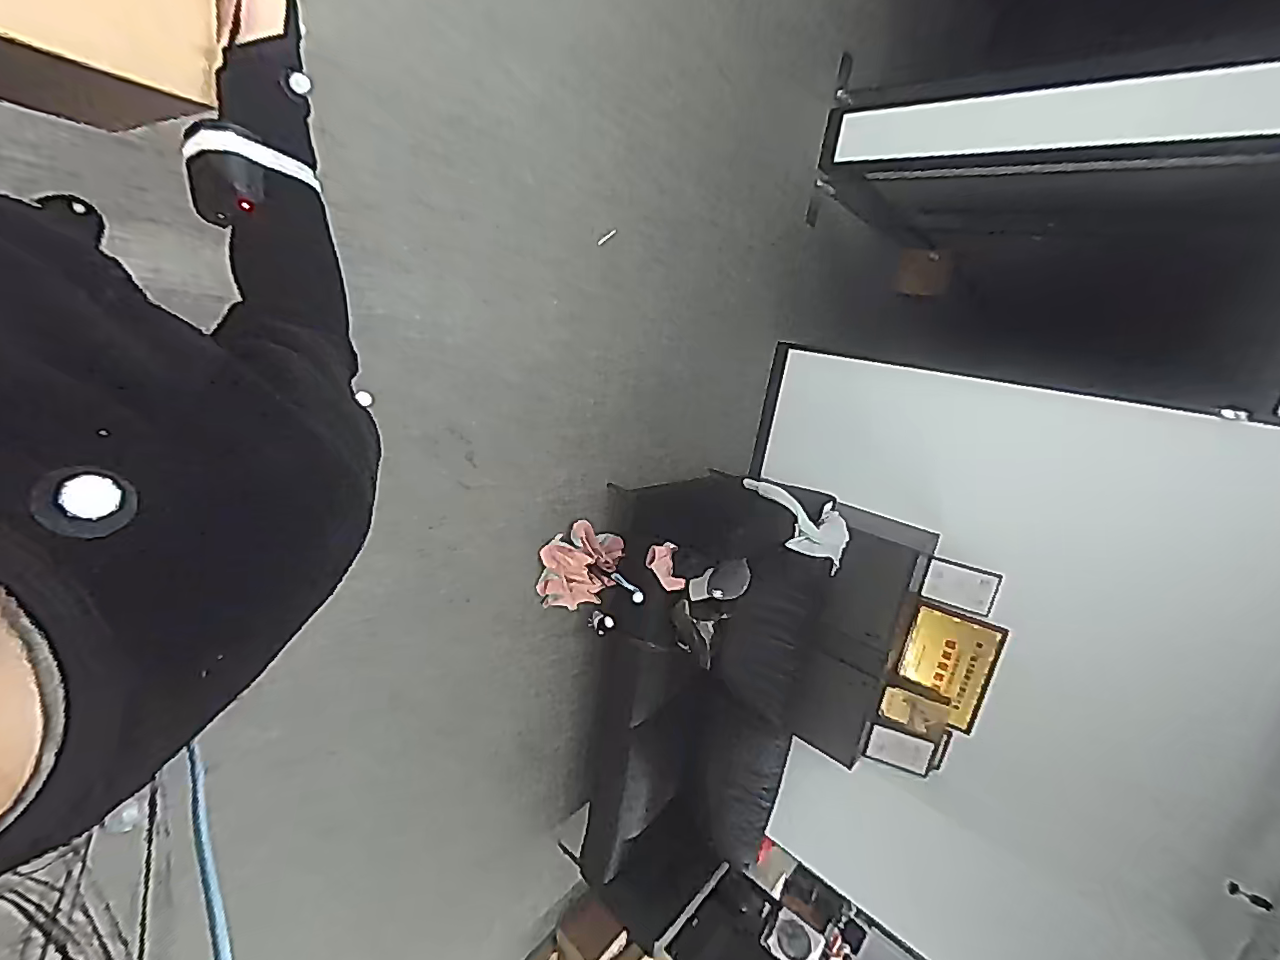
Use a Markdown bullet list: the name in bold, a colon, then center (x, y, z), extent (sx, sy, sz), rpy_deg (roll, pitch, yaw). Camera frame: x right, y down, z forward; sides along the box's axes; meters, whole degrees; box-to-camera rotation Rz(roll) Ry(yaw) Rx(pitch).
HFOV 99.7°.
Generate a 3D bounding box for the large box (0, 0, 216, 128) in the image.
- **large box**: center (-0.563, -0.462, 0.331), extent (0.408, 0.320, 0.320), rpy_deg (-13, 116, -52)
